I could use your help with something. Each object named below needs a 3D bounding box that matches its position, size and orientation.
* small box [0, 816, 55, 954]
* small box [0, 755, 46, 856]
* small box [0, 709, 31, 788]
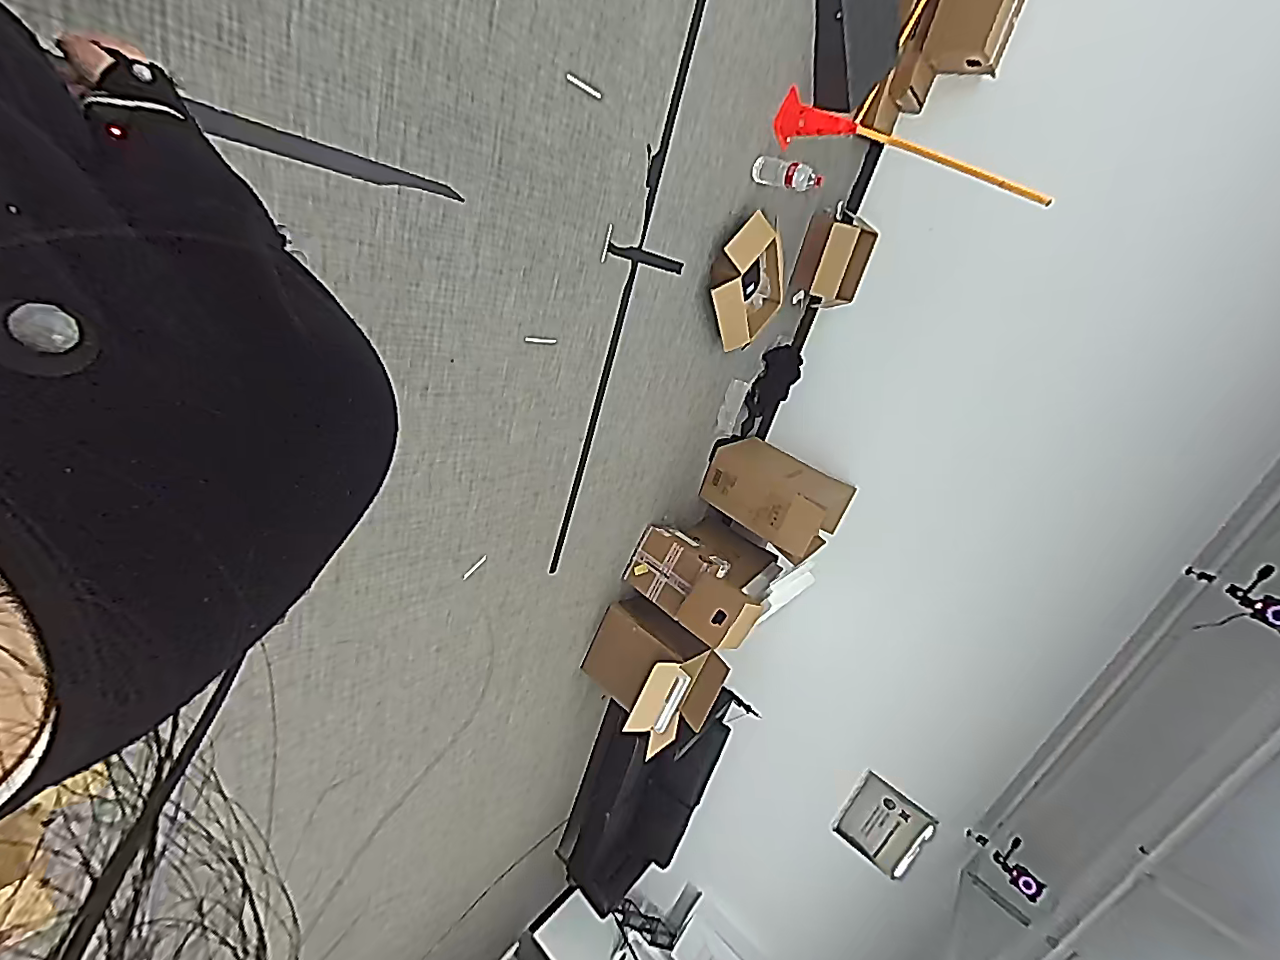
[{"bbox_3d":[-1.255,0.788,1.020,0.168,0.176,0.179,-20,132,-48],"label":"small box"},{"bbox_3d":[-1.372,0.713,1.109,0.168,0.176,0.179,-20,134,-48],"label":"small box"},{"bbox_3d":[-1.493,0.636,1.188,0.168,0.176,0.179,-19,132,-49],"label":"small box"}]
